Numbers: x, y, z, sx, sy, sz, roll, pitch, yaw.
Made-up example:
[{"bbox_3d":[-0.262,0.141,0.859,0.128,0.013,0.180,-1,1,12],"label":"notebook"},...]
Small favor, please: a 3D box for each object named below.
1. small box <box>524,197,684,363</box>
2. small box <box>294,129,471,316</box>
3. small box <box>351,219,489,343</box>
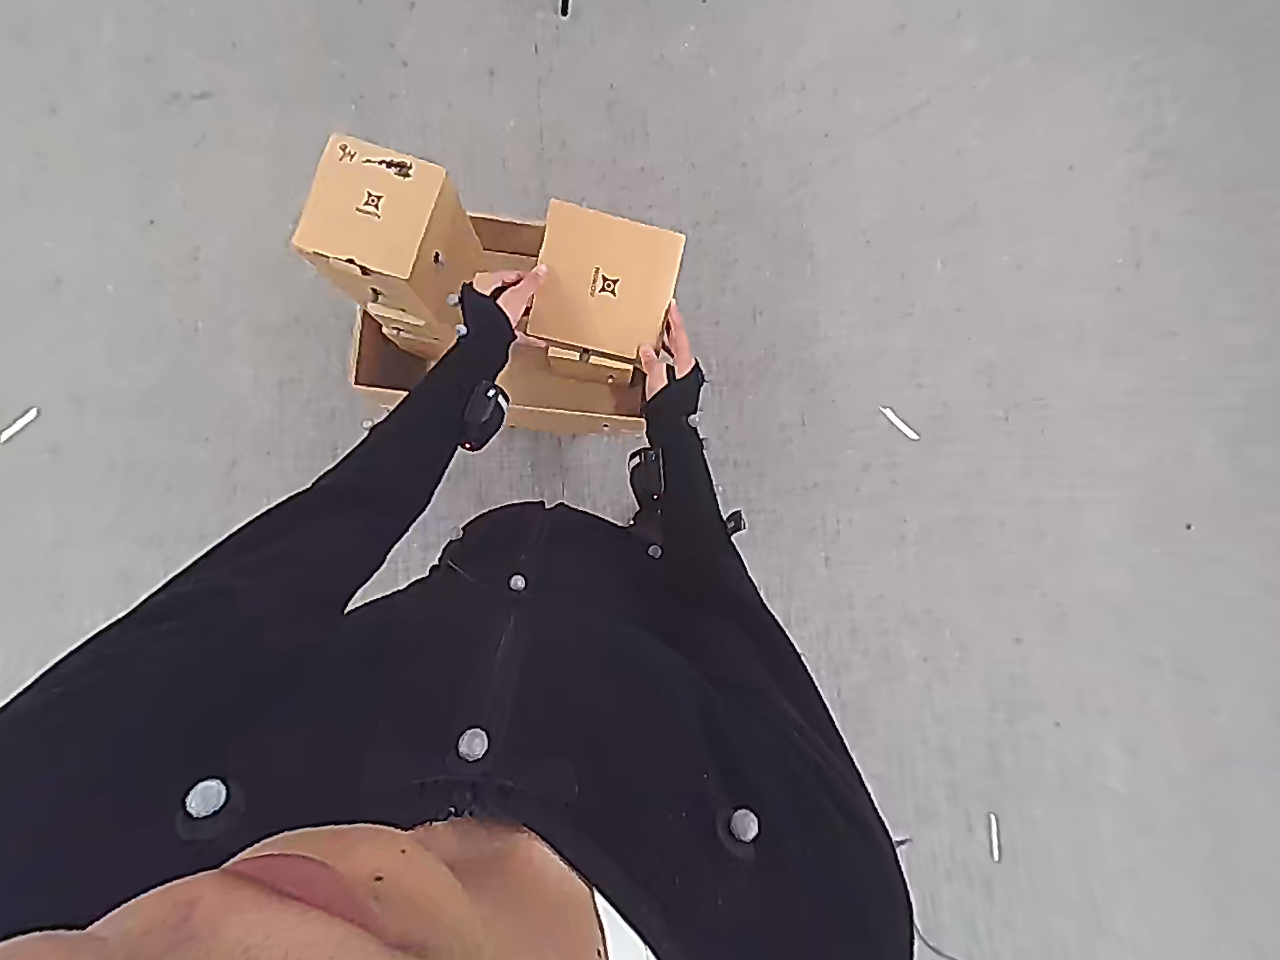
[{"bbox_3d":[-0.052,-0.264,0.754,0.179,0.176,0.168,11,100,-7],"label":"small box"},{"bbox_3d":[-0.374,-0.374,0.822,0.168,0.176,0.179,17,86,-3],"label":"small box"},{"bbox_3d":[-0.387,-0.370,0.986,0.168,0.176,0.179,14,85,-3],"label":"small box"}]
